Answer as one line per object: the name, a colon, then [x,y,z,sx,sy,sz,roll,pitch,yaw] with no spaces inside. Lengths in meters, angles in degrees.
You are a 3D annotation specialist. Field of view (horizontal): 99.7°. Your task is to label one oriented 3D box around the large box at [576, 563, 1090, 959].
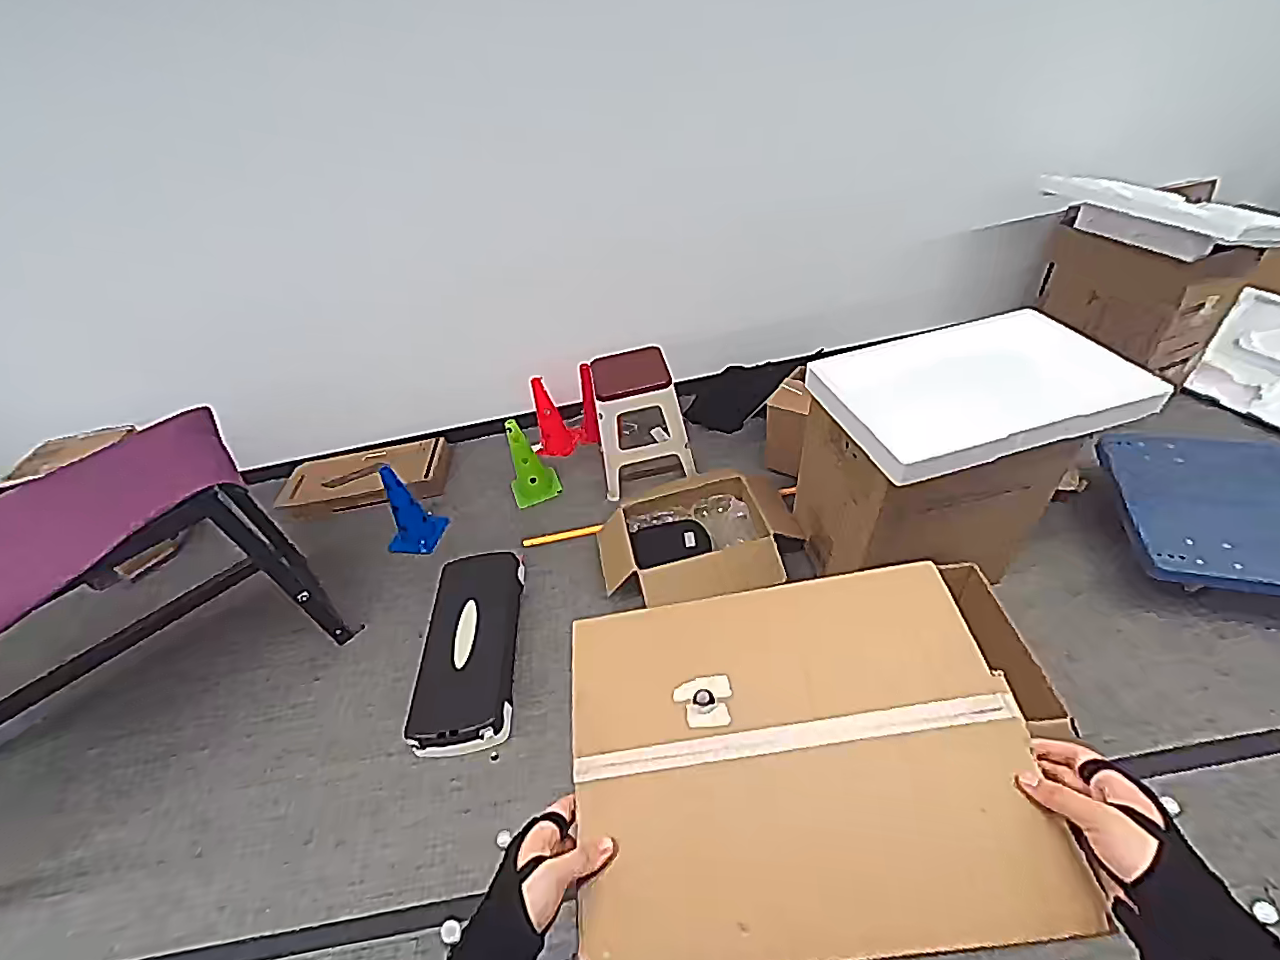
large box: [0.166,0.340,0.630,0.408,0.320,0.320,-12,49,6]
